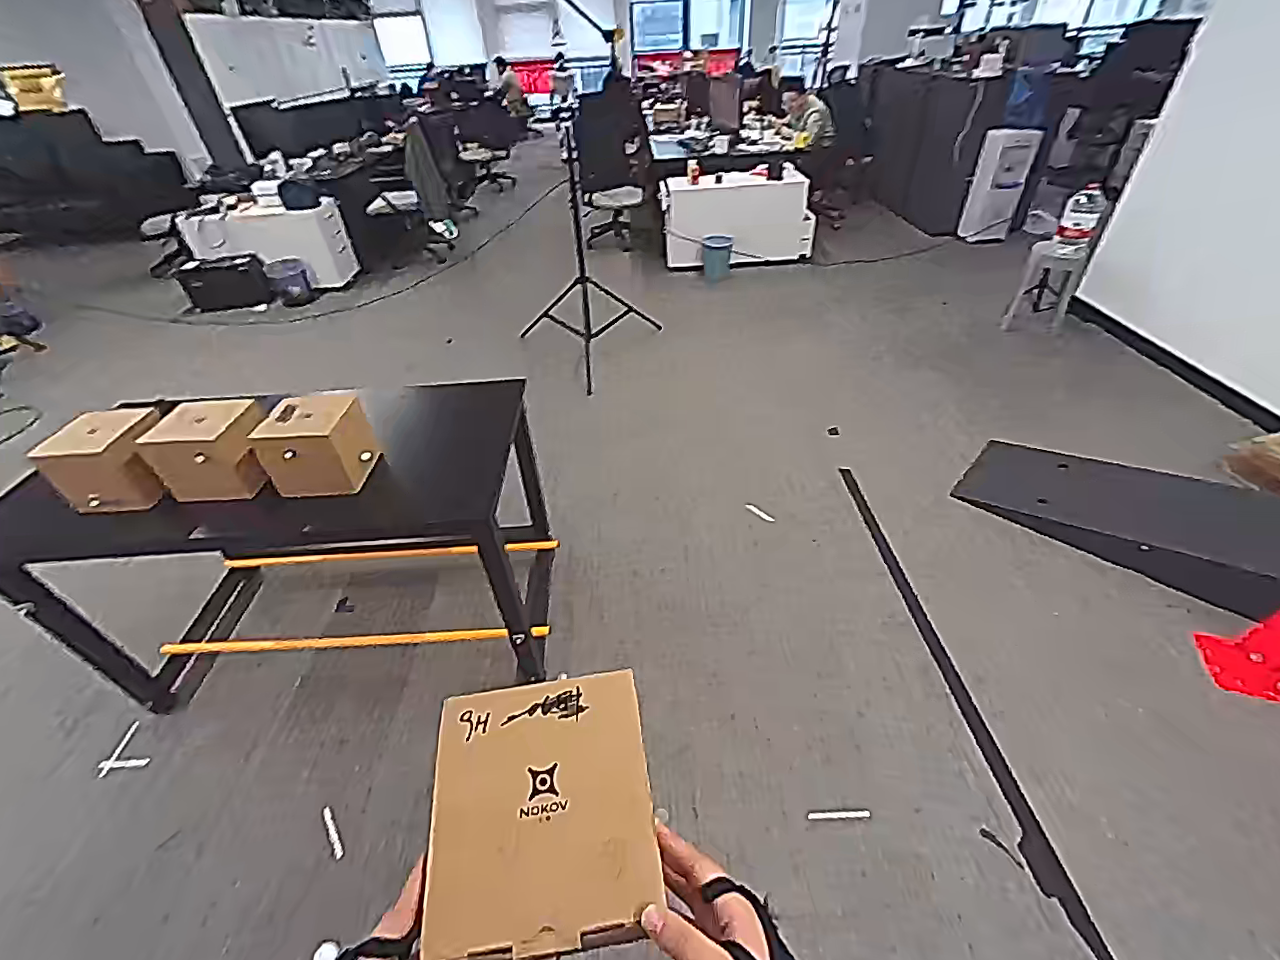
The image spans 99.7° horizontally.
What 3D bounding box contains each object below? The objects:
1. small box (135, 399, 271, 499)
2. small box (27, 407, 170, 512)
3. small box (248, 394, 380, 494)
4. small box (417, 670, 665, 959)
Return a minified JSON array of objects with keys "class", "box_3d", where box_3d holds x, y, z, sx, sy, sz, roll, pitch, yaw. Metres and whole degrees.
[{"class":"small box","box_3d":[-0.974,-0.070,1.244,0.179,0.176,0.168,-3,39,1]},{"class":"small box","box_3d":[-1.192,-0.047,1.235,0.168,0.176,0.179,-5,40,1]},{"class":"small box","box_3d":[-0.733,-0.081,1.239,0.179,0.176,0.168,-3,40,0]},{"class":"small box","box_3d":[-0.072,0.289,0.462,0.168,0.176,0.179,-9,49,-5]}]
